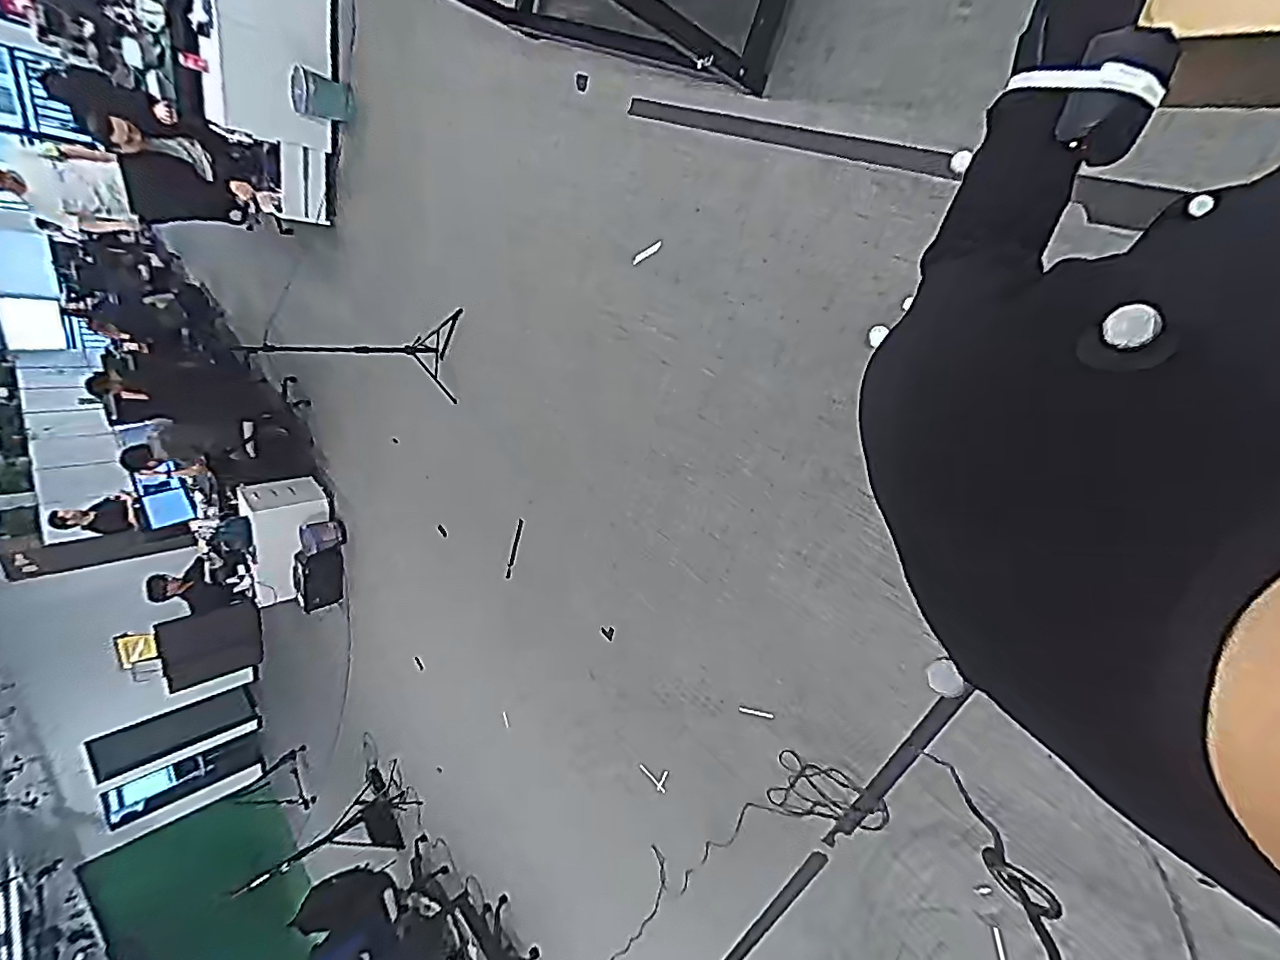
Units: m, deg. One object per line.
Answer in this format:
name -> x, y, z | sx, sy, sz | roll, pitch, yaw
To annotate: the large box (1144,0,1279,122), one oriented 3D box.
large box -> 0.583, -0.394, 0.279 | 0.408, 0.320, 0.320 | 26, 125, 34
